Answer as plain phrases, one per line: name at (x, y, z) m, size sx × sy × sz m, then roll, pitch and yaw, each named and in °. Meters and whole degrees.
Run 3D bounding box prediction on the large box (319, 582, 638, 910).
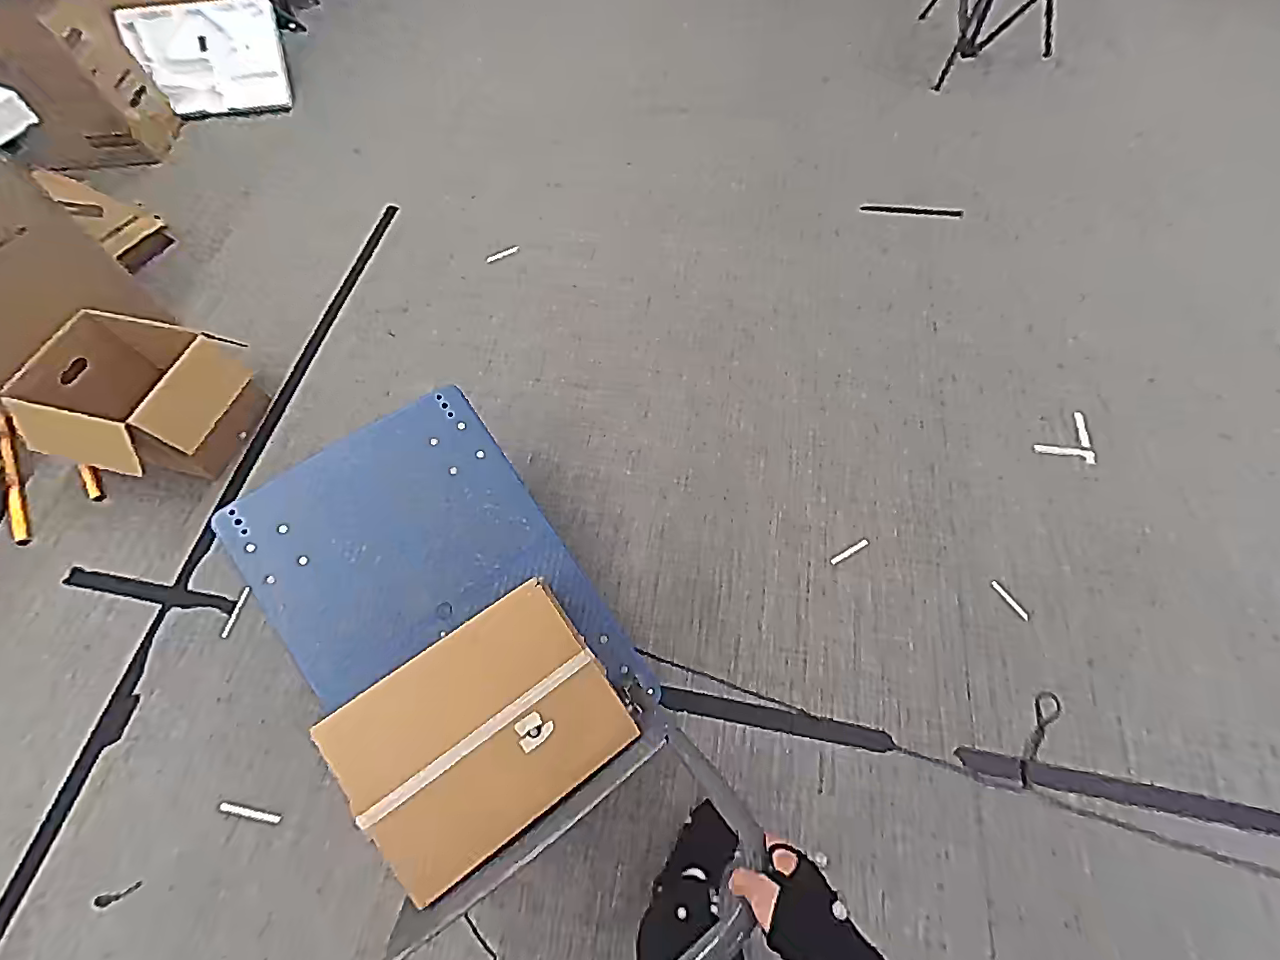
large box at (-0.269, 0.435, 0.995) m, size 0.408 × 0.320 × 0.320 m, roll -34°, pitch 86°, yaw -15°
